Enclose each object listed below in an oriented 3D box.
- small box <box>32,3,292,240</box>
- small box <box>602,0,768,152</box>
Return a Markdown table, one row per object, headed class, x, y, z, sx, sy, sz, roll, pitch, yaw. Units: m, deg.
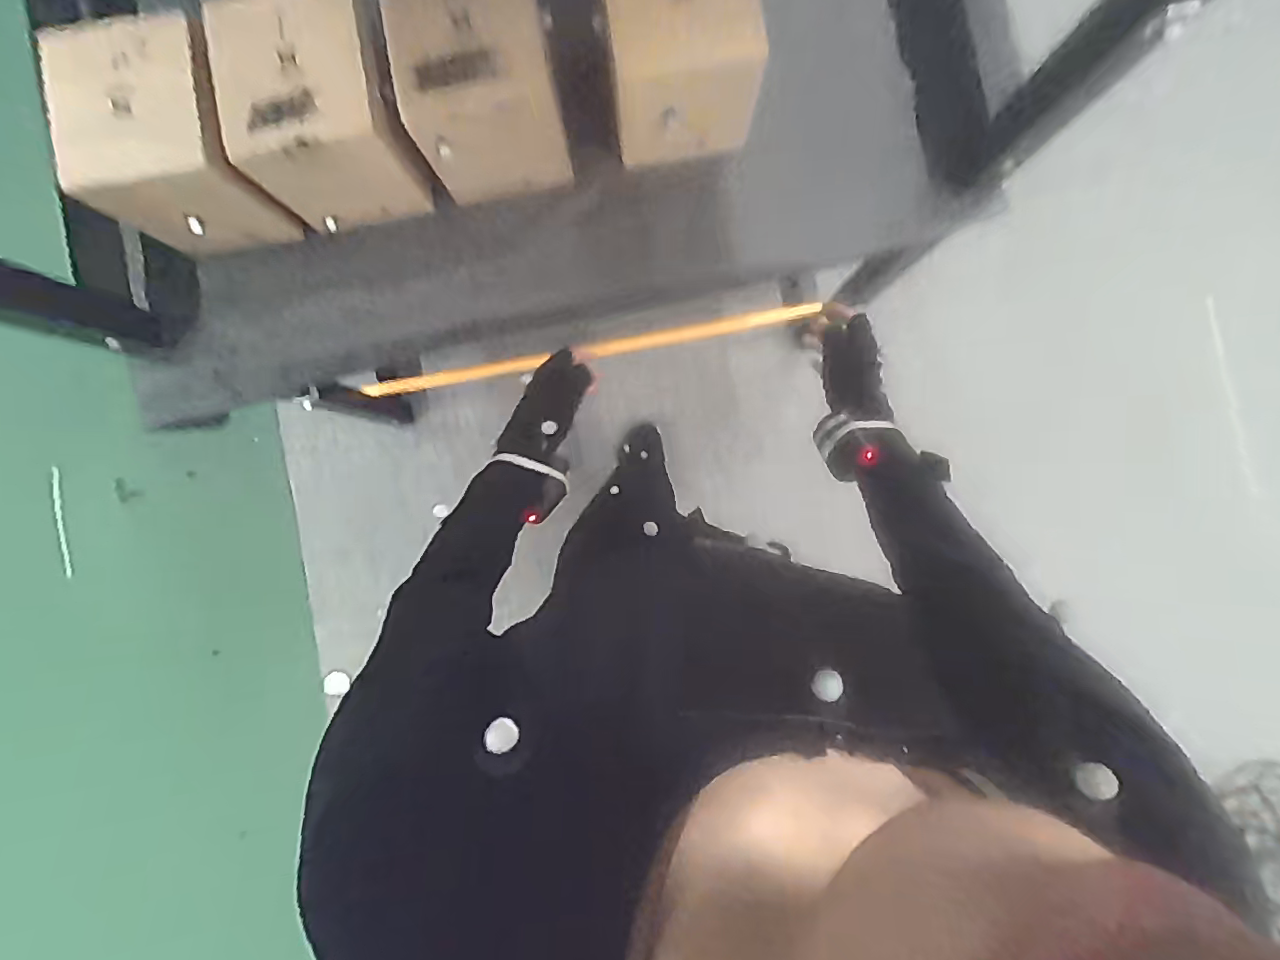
| class | x | y | z | sx | sy | sz | roll | pitch | yaw |
| --- | --- | --- | --- | --- | --- | --- | --- | --- | --- |
| small box | -0.556 | -0.411 | 0.655 | 0.168 | 0.176 | 0.179 | -8 | 89 | 0 |
| small box | 0.045 | -0.523 | 0.643 | 0.168 | 0.176 | 0.179 | -8 | 89 | 1 |
